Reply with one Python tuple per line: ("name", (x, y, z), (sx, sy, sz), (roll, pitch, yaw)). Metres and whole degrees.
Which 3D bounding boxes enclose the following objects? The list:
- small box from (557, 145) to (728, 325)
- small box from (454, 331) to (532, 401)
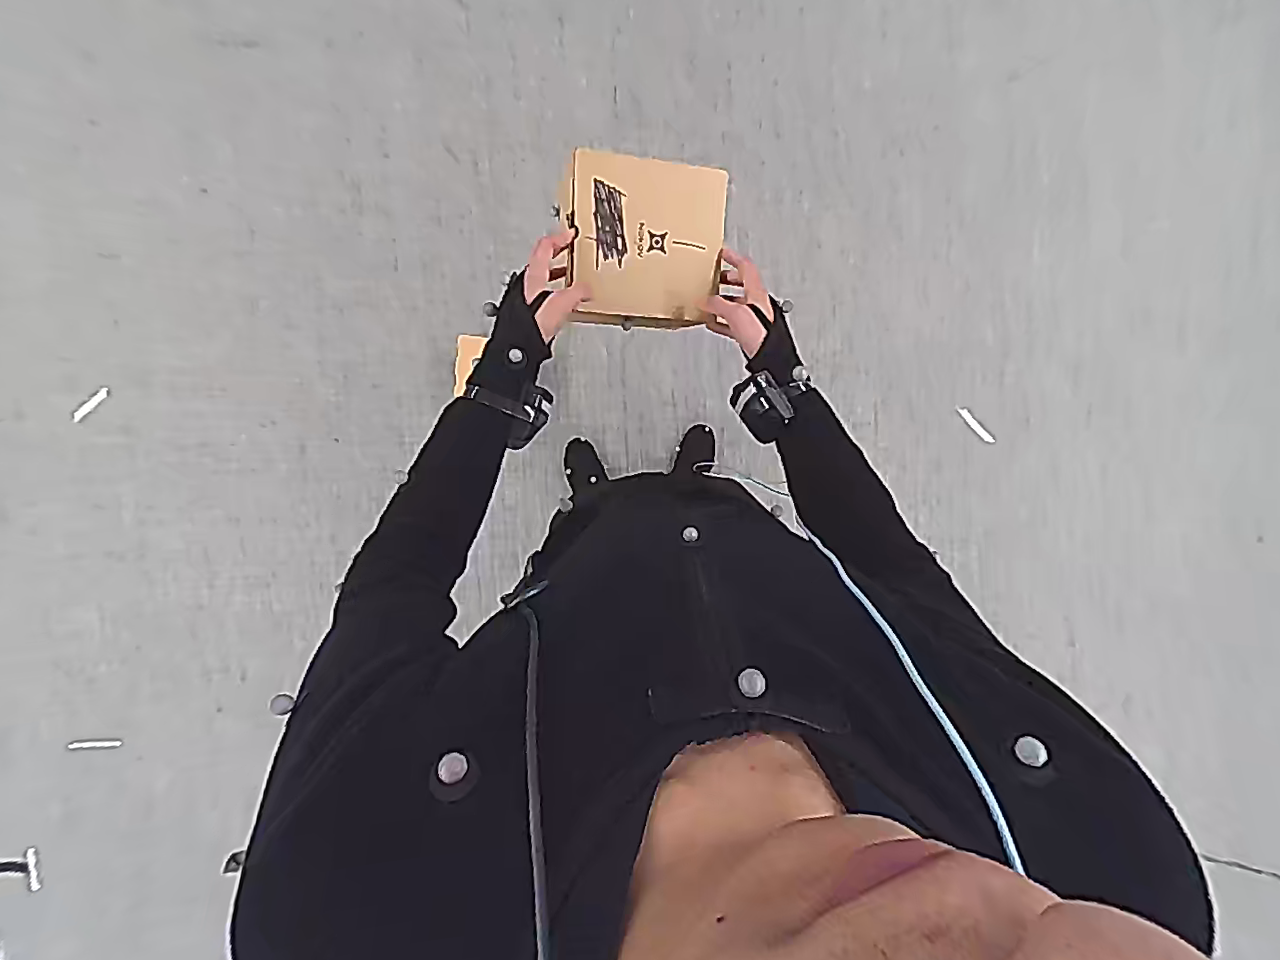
("small box", (-0.009, -0.288, 0.677), (0.179, 0.176, 0.168), (0, 103, -15))
("small box", (-0.405, -0.312, 1.513), (0.179, 0.176, 0.168), (6, 96, -2))
